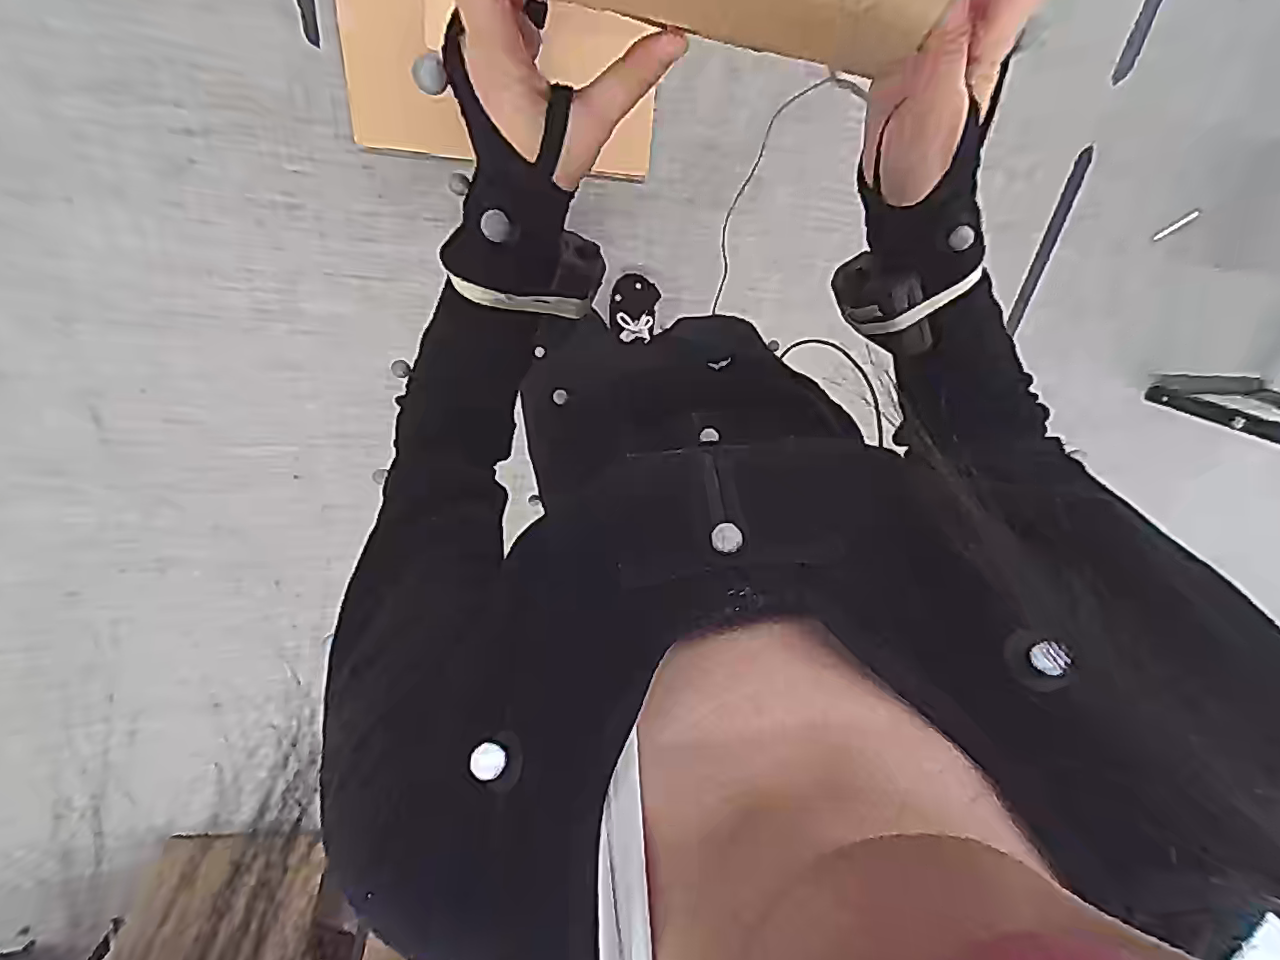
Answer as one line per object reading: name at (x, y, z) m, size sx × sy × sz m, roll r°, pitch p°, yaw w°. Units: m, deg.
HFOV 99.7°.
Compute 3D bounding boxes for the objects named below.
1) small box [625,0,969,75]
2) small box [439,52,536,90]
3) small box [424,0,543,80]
small box at (0.062, -0.272, 0.148) m, size 0.168 × 0.179 × 0.176 m, roll 5°, pitch 88°, yaw -10°
small box at (-0.269, -0.829, 0.970) m, size 0.168 × 0.176 × 0.179 m, roll 2°, pitch 119°, yaw -15°
small box at (-0.236, -0.747, 0.831) m, size 0.168 × 0.176 × 0.179 m, roll 3°, pitch 119°, yaw -15°
